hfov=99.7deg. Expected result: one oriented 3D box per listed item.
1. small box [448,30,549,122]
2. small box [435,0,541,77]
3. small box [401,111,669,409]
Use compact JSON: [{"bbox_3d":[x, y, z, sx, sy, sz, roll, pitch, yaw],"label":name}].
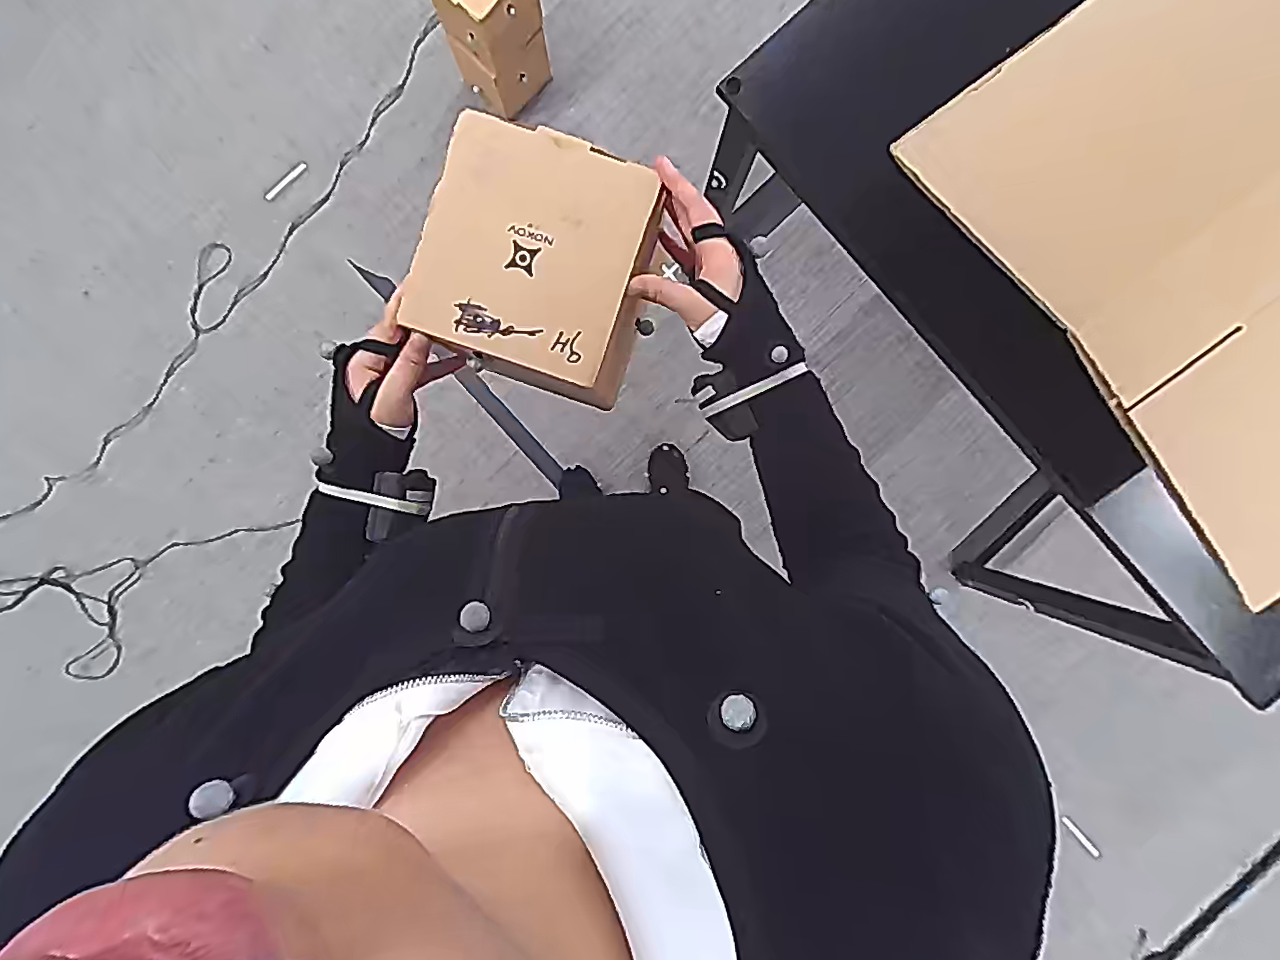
[{"bbox_3d":[-0.349,-1.070,1.376,0.168,0.176,0.179,44,91,-2],"label":"small box"},{"bbox_3d":[-0.341,-1.070,1.214,0.168,0.176,0.179,41,89,-3],"label":"small box"},{"bbox_3d":[-0.081,-0.179,0.498,0.168,0.176,0.179,19,91,2],"label":"small box"}]
